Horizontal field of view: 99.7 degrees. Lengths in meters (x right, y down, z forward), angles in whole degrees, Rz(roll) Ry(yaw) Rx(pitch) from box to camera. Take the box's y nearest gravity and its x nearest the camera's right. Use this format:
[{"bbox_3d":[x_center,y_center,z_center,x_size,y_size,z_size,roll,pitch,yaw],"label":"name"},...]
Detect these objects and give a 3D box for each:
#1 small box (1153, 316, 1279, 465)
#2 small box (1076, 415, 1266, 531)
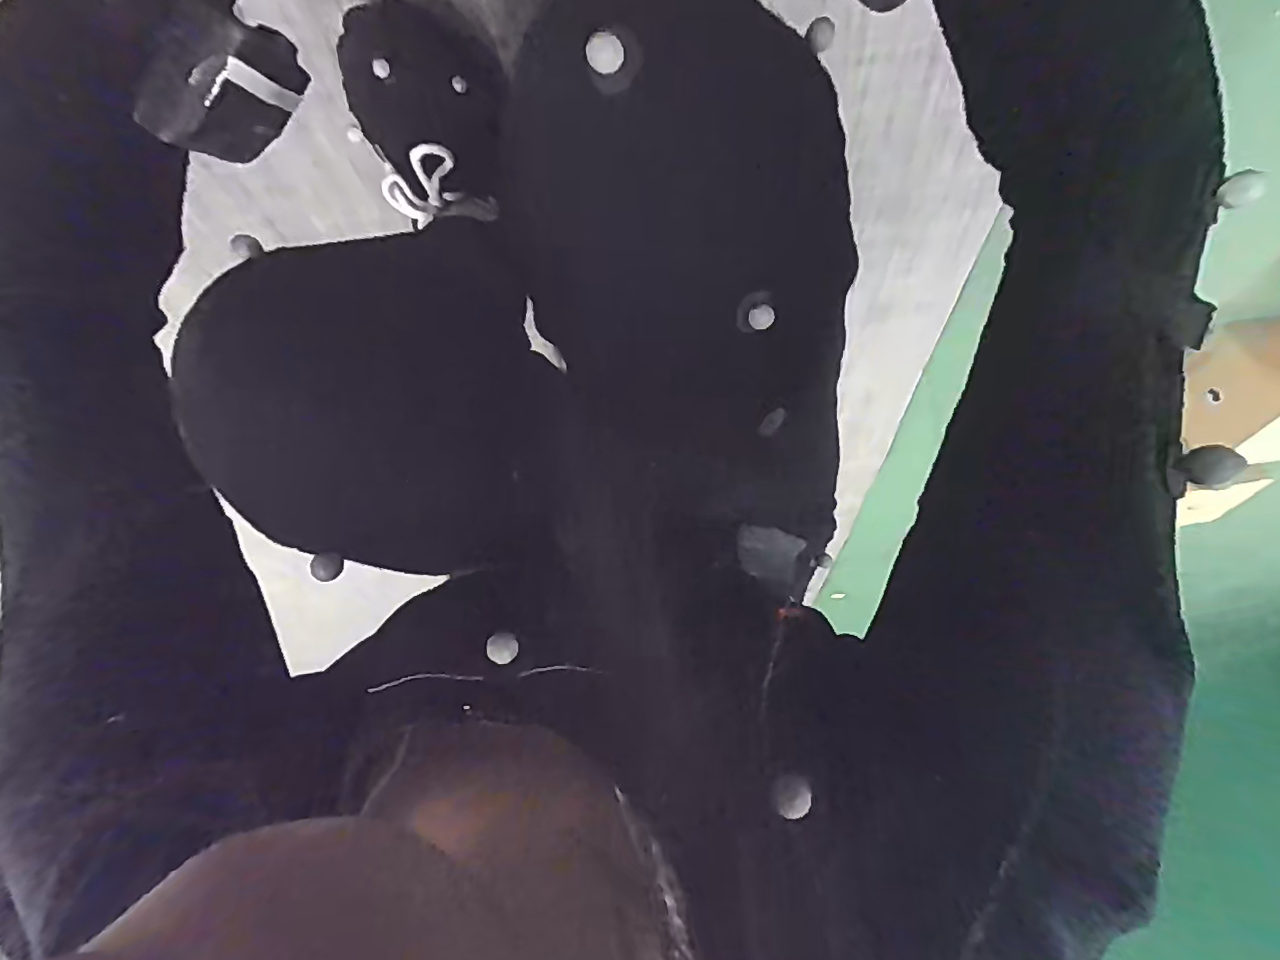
[{"bbox_3d":[1.001,-0.148,0.867,0.179,0.176,0.168,-8,148,3],"label":"small box"},{"bbox_3d":[1.037,-0.020,1.077,0.179,0.176,0.168,-10,147,6],"label":"small box"}]
